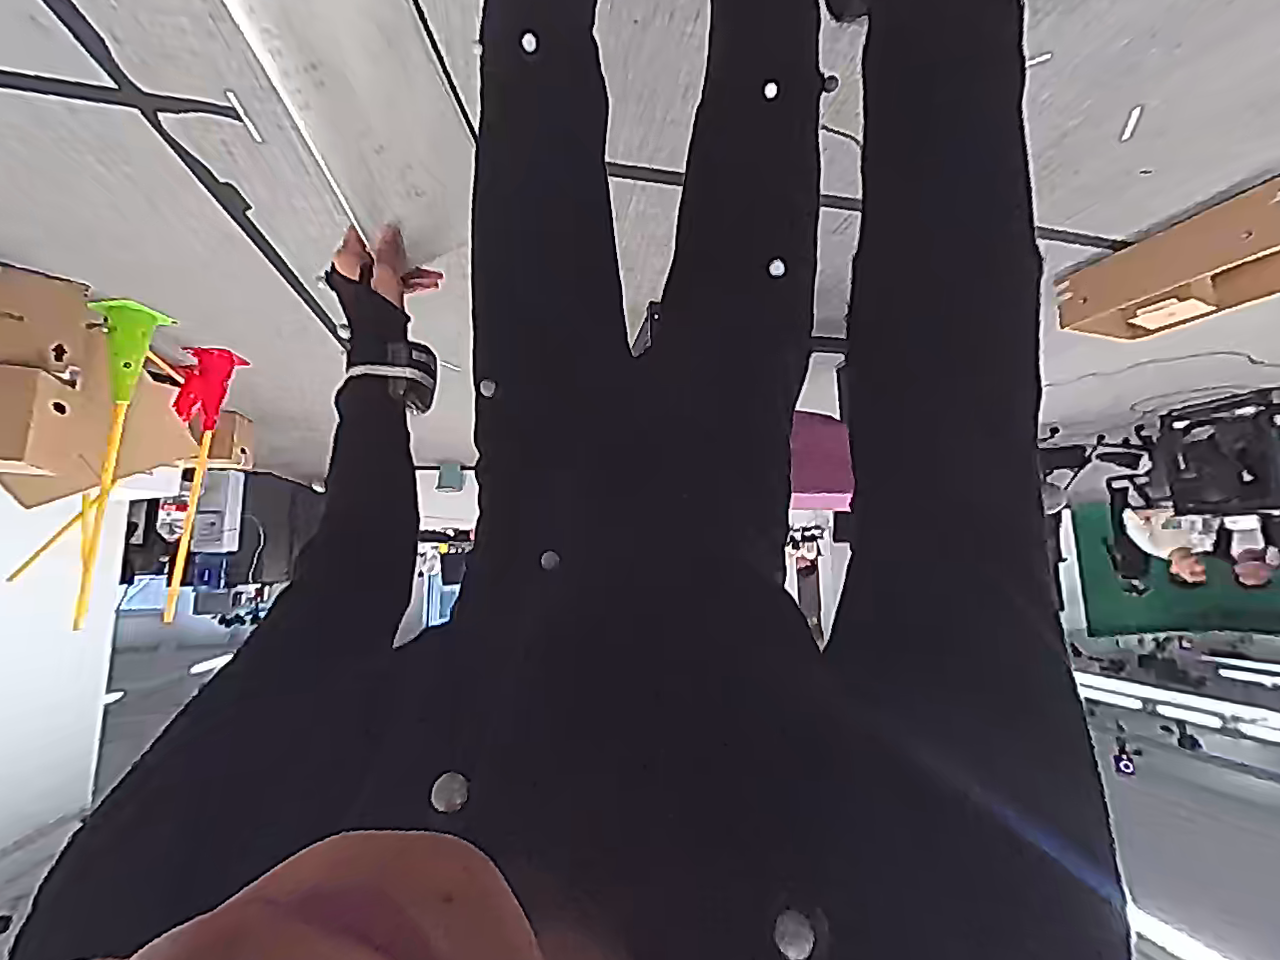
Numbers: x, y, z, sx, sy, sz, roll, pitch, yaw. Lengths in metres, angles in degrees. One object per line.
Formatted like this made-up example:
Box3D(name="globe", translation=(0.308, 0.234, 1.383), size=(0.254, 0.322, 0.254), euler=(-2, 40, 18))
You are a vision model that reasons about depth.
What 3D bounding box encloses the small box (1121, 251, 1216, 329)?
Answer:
Box3D(name="small box", translation=(1.716, -0.619, 1.761), size=(0.179, 0.176, 0.168), euler=(3, 170, -26))
